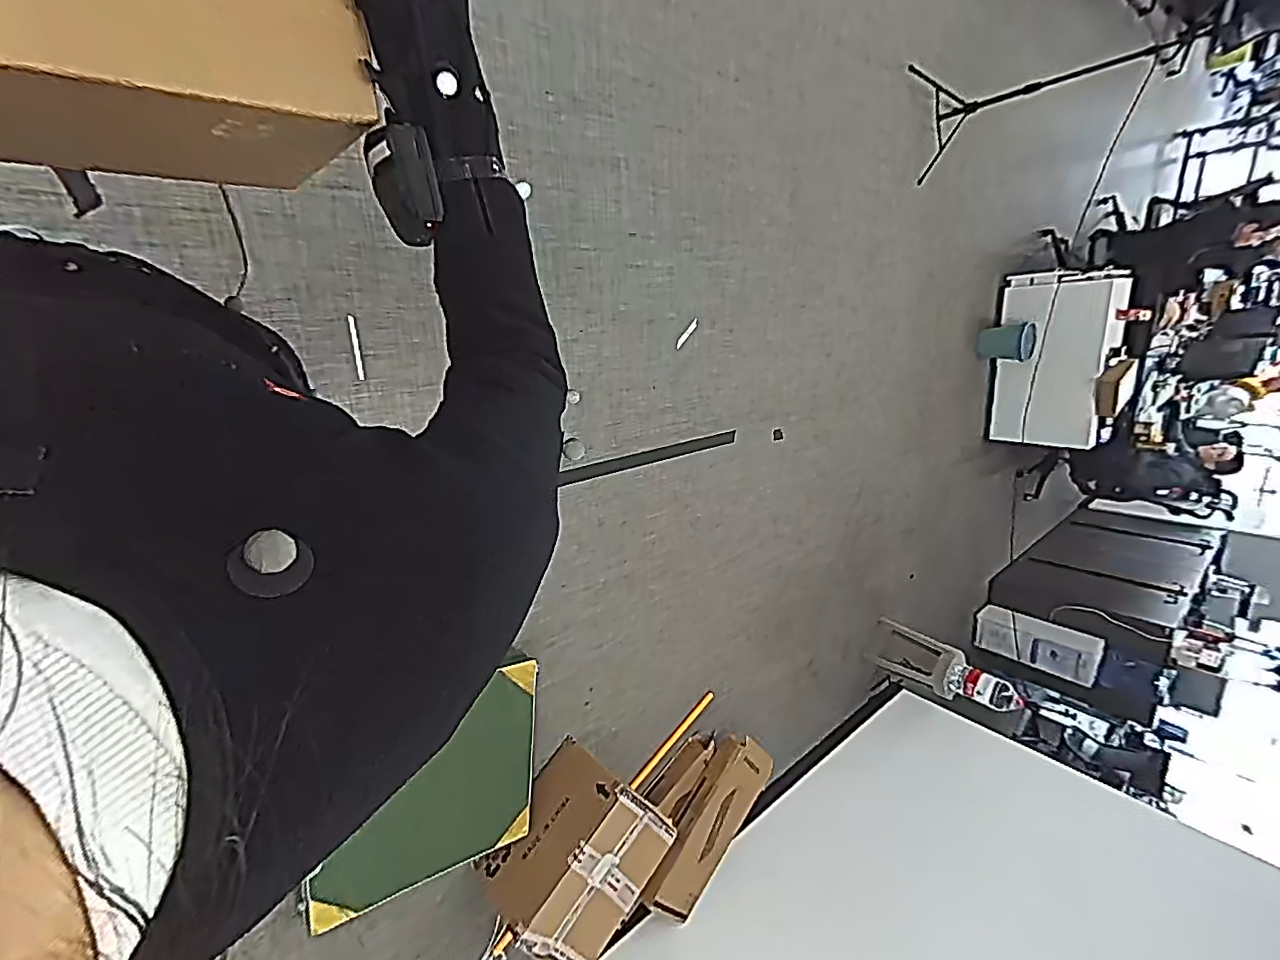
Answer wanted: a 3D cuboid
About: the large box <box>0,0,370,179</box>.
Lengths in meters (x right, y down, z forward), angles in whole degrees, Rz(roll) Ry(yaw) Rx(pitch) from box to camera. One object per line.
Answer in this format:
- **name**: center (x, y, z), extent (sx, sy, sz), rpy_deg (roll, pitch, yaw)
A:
- **large box**: center (-0.432, -0.378, 0.300), extent (0.408, 0.320, 0.320), rpy_deg (-17, 116, -38)
